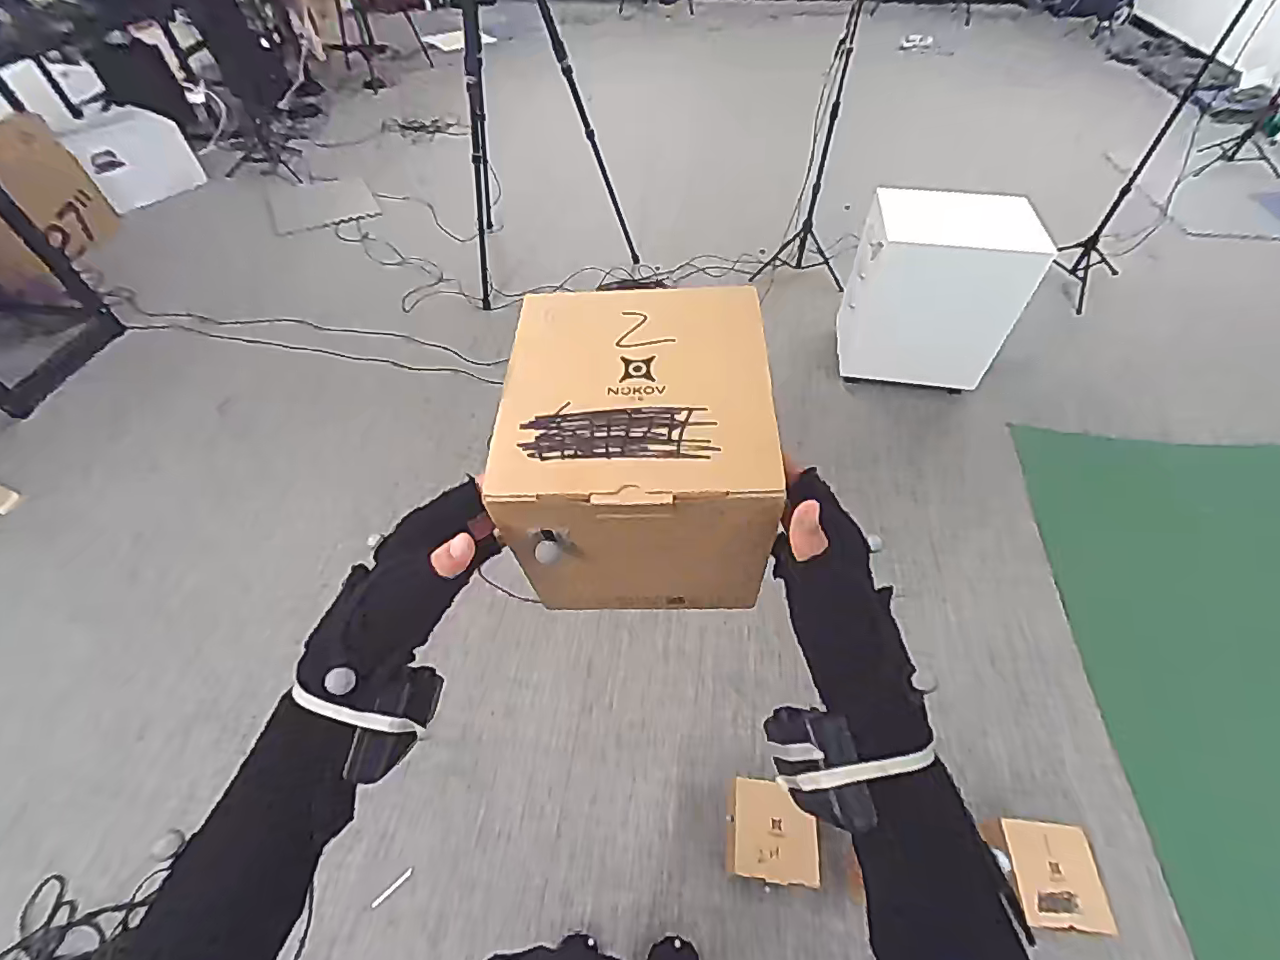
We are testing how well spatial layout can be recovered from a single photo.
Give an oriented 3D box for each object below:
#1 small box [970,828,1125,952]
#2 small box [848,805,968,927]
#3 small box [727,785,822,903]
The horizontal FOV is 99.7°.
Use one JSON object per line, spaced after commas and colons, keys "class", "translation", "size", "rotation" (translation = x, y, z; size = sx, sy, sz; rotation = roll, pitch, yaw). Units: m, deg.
{"class": "small box", "translation": [0.809, 0.831, 1.098], "size": [0.168, 0.176, 0.179], "rotation": [5, 50, 4]}
{"class": "small box", "translation": [0.543, 0.803, 1.124], "size": [0.168, 0.176, 0.179], "rotation": [7, 51, 6]}
{"class": "small box", "translation": [0.277, 0.773, 1.146], "size": [0.168, 0.176, 0.179], "rotation": [5, 51, 6]}
